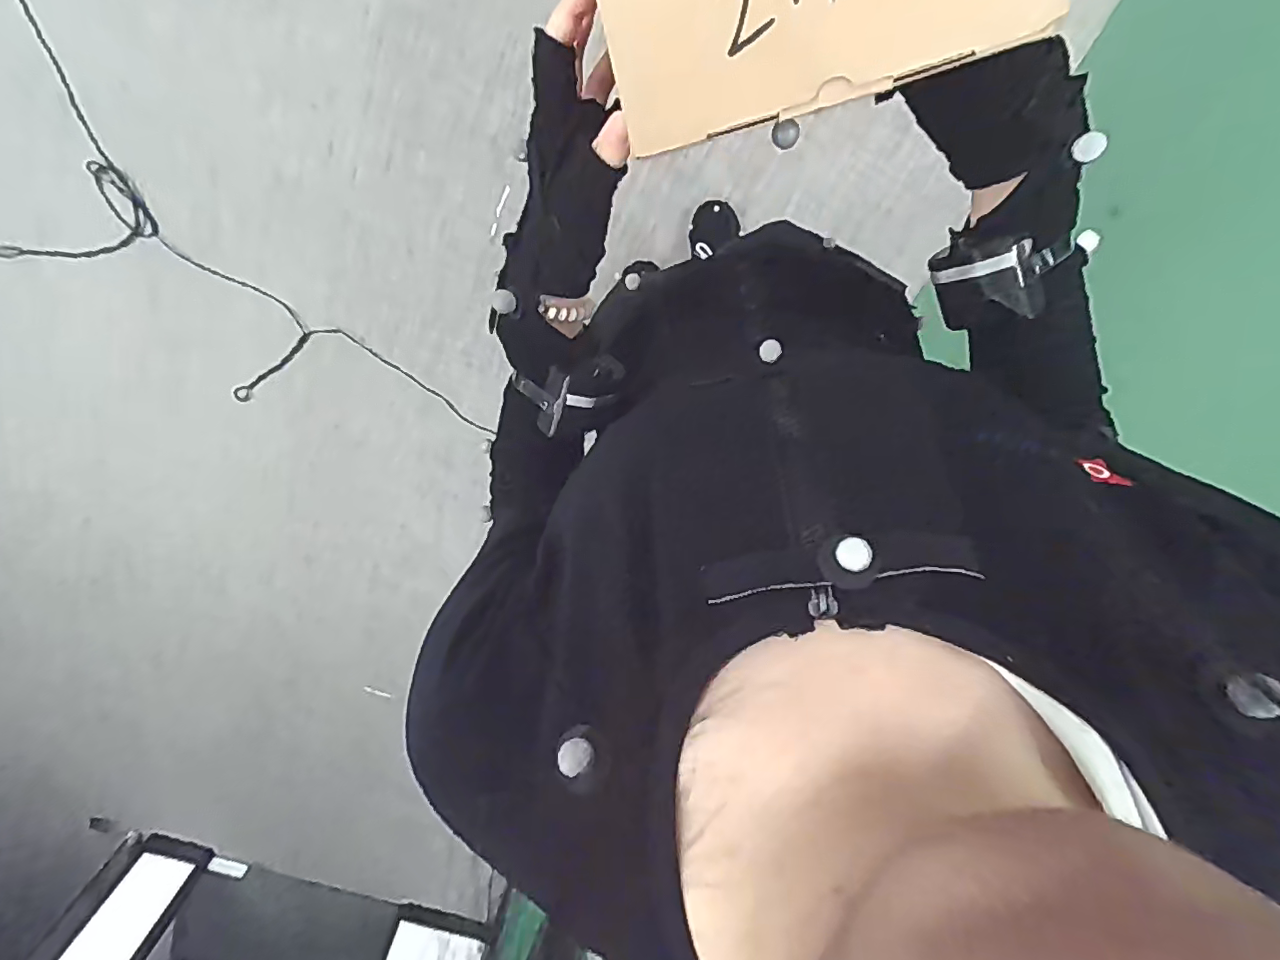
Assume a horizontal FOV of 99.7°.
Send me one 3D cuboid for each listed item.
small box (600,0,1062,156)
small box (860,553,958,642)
[{"bbox_3d":[0.059,-0.264,0.239,0.168,0.176,0.179,-11,122,11],"label":"small box"},{"bbox_3d":[0.800,0.347,1.633,0.179,0.176,0.168,25,116,-10],"label":"small box"}]
